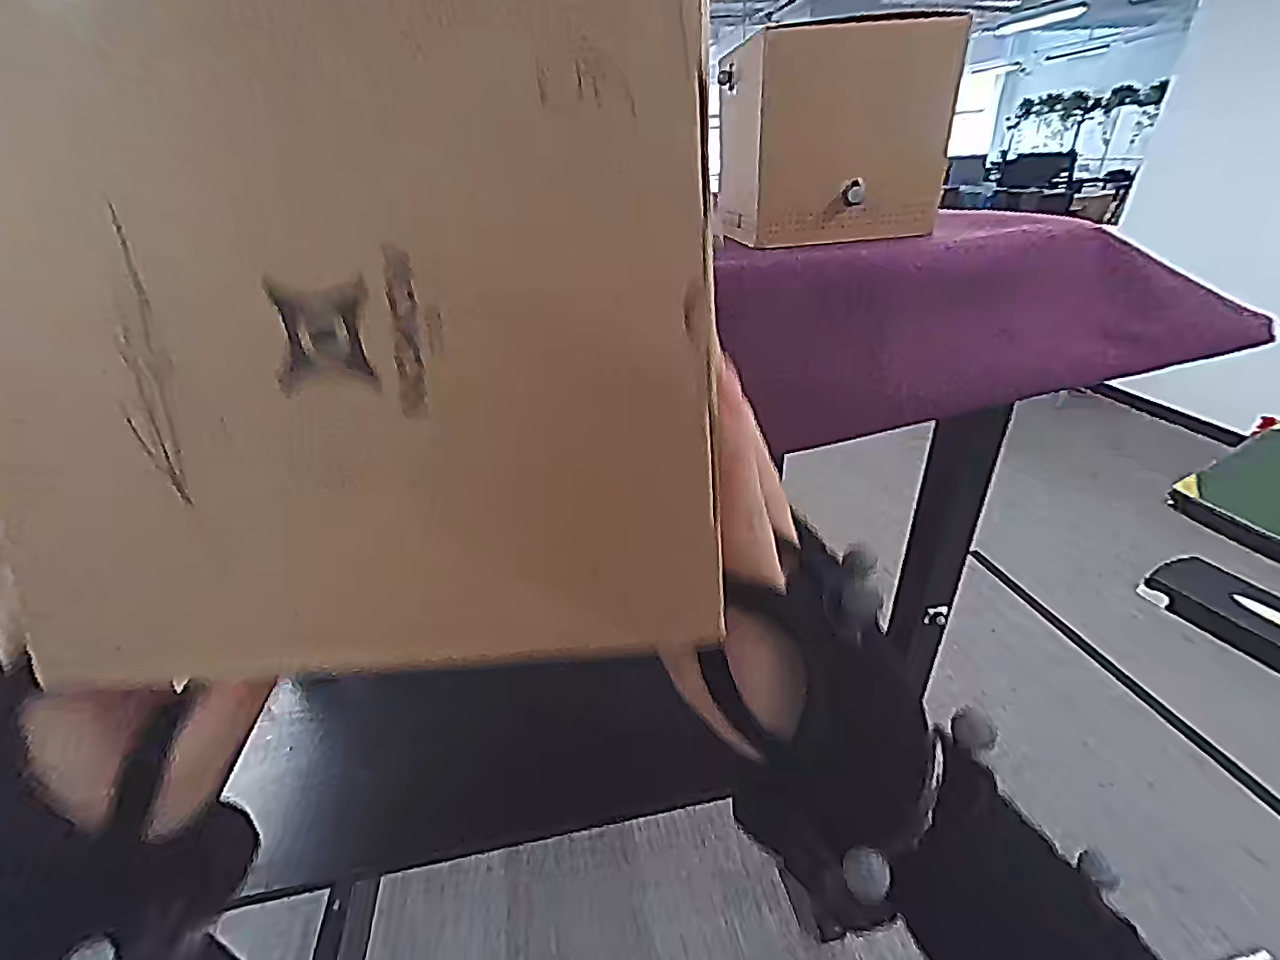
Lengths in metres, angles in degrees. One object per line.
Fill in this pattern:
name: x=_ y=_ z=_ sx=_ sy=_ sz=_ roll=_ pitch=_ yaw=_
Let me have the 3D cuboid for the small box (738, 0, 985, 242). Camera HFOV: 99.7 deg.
small box: x=0.187 y=-0.339 z=0.532 sx=0.179 sy=0.176 sz=0.168 roll=-6 pitch=29 yaw=-3

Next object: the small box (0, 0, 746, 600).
small box: x=-0.066 y=-0.068 z=0.200 sx=0.179 sy=0.168 sz=0.176 roll=-3 pitch=10 yaw=-1
